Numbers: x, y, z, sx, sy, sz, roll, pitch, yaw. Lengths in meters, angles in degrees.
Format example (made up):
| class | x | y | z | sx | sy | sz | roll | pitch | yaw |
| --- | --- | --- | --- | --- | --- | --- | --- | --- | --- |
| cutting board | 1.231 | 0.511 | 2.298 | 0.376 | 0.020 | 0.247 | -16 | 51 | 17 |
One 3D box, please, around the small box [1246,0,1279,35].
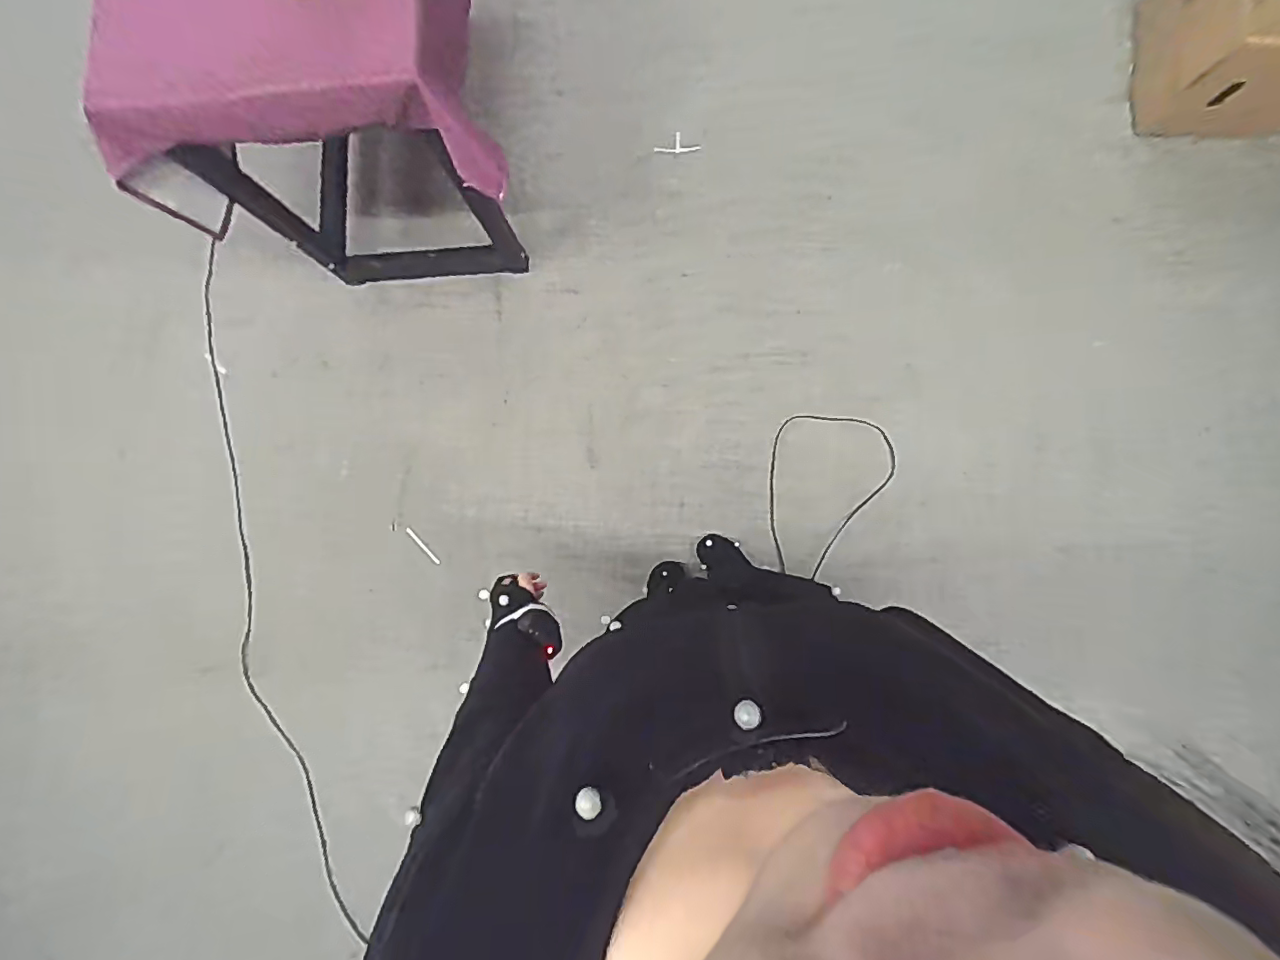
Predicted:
| class | x | y | z | sx | sy | sz | roll | pitch | yaw |
| --- | --- | --- | --- | --- | --- | --- | --- | --- | --- |
| small box | 1.463 | -1.083 | 1.141 | 0.179 | 0.176 | 0.168 | 7 | 85 | 3 |
